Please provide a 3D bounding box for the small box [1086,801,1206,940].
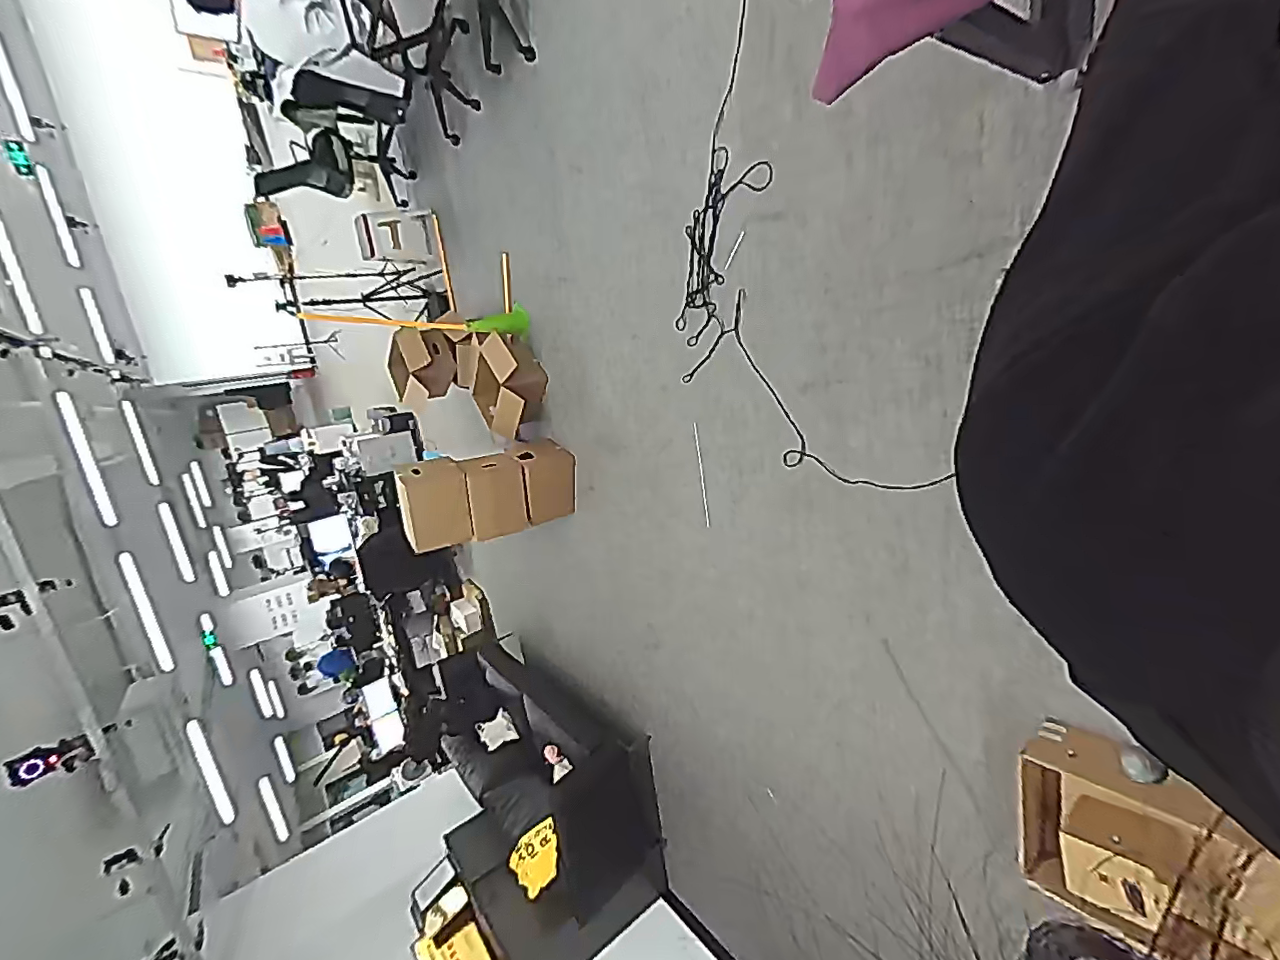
[{"bbox_3d":[1.197,0.905,1.276,0.179,0.176,0.168,-4,100,57],"label":"small box"}]
